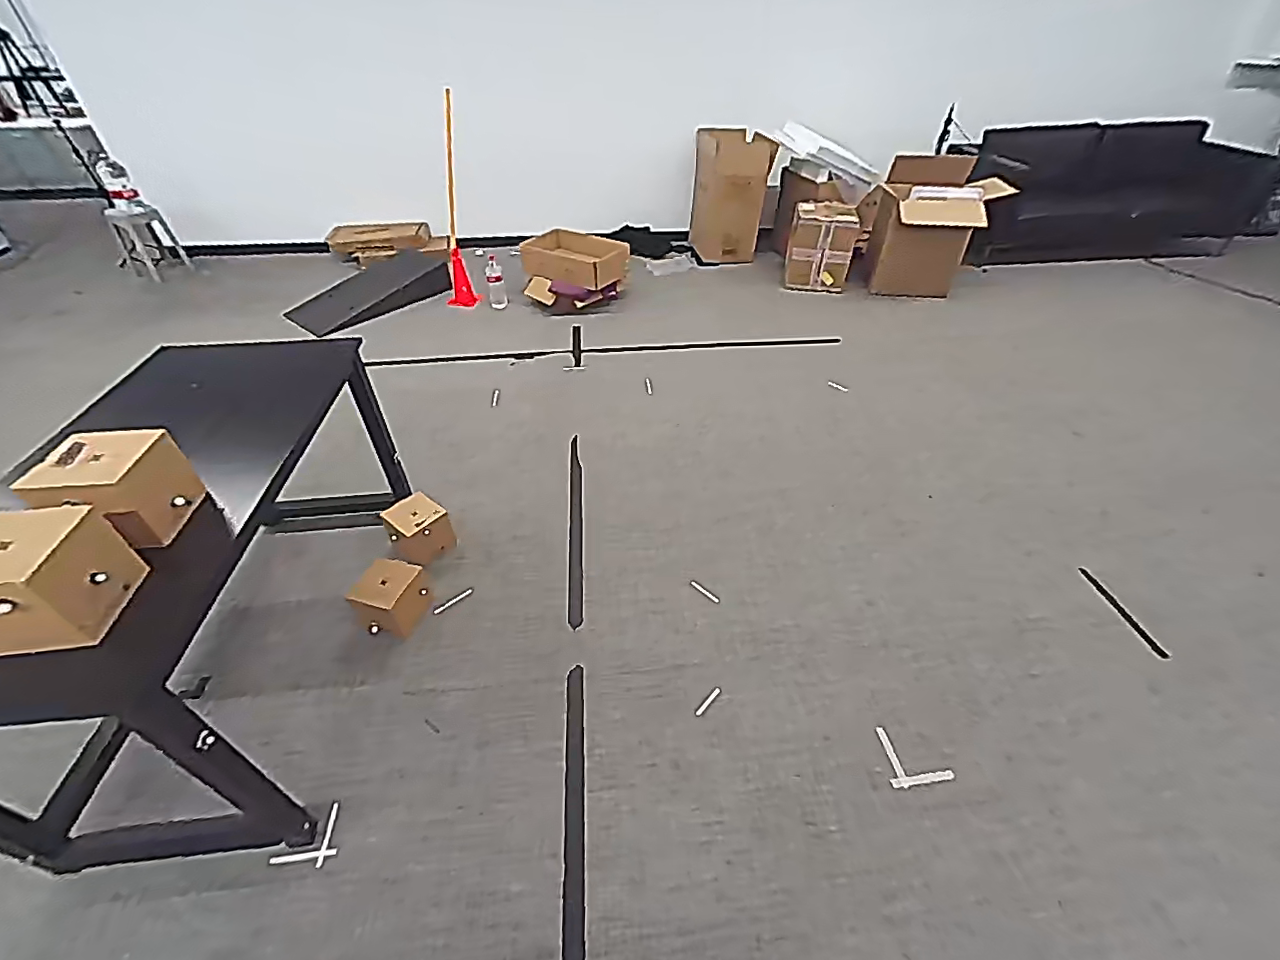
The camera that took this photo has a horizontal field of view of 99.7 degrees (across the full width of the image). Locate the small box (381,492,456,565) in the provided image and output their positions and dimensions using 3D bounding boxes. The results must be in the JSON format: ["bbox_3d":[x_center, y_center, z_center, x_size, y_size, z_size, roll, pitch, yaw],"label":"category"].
[{"bbox_3d":[-0.807,0.181,1.981,0.179,0.176,0.168,27,48,27],"label":"small box"}]

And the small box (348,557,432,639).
[{"bbox_3d":[-0.800,0.383,1.755,0.168,0.176,0.179,10,43,12],"label":"small box"}]

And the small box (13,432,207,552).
[{"bbox_3d":[-1.012,0.026,1.055,0.179,0.176,0.168,-4,42,-5],"label":"small box"}]
